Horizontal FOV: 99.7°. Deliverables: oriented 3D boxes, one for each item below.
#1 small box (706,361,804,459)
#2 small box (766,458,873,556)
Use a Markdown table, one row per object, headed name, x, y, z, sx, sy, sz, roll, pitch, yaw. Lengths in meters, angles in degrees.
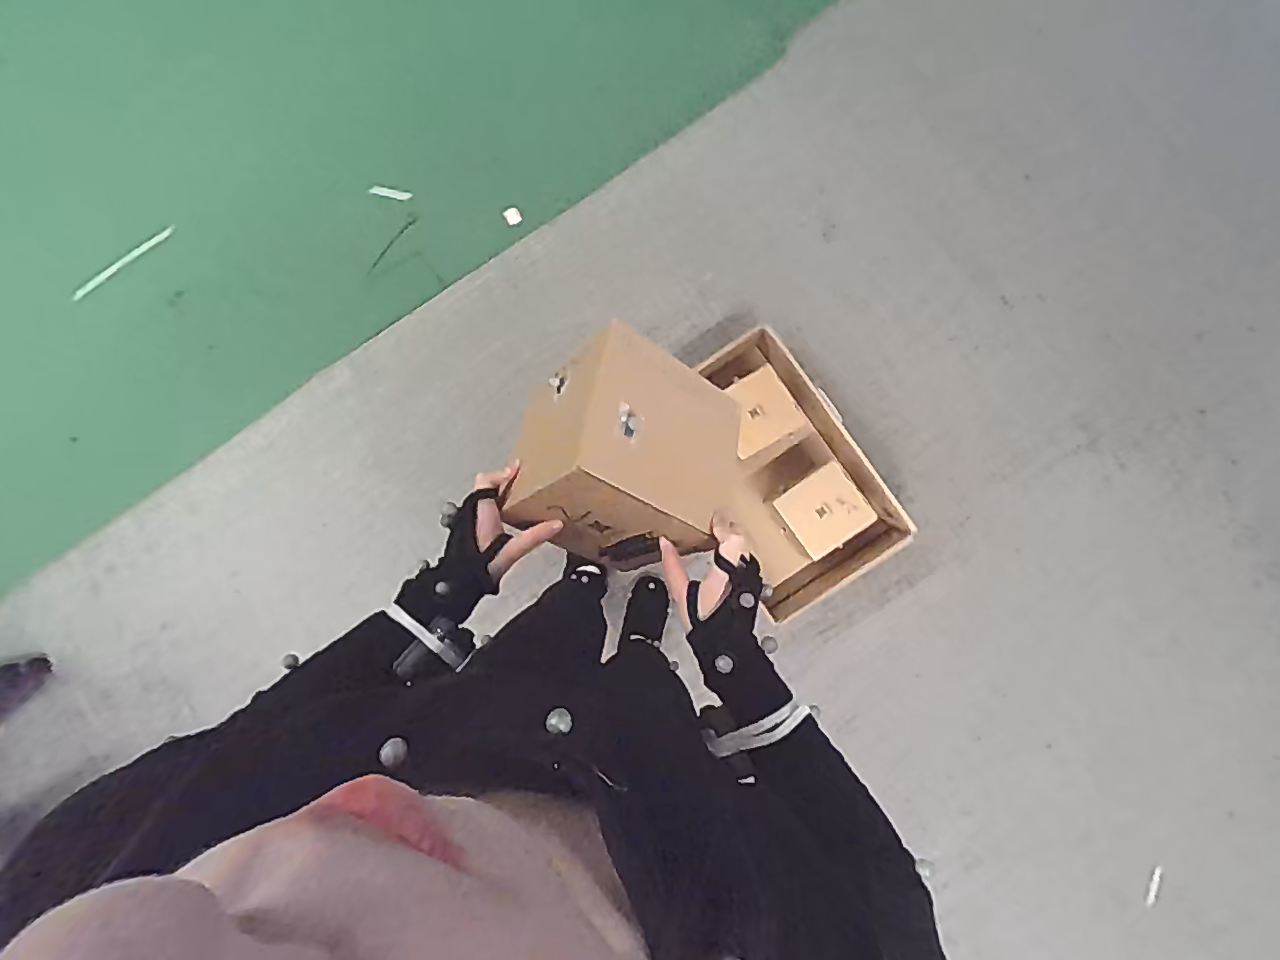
| name | x | y | z | sx | sy | sz | roll | pitch | yaw |
| --- | --- | --- | --- | --- | --- | --- | --- | --- | --- |
| small box | 0.275 | -0.164 | 1.335 | 0.179 | 0.176 | 0.168 | -29 | 86 | 2 |
| small box | 0.422 | 0.067 | 1.311 | 0.179 | 0.176 | 0.168 | -34 | 86 | 3 |
